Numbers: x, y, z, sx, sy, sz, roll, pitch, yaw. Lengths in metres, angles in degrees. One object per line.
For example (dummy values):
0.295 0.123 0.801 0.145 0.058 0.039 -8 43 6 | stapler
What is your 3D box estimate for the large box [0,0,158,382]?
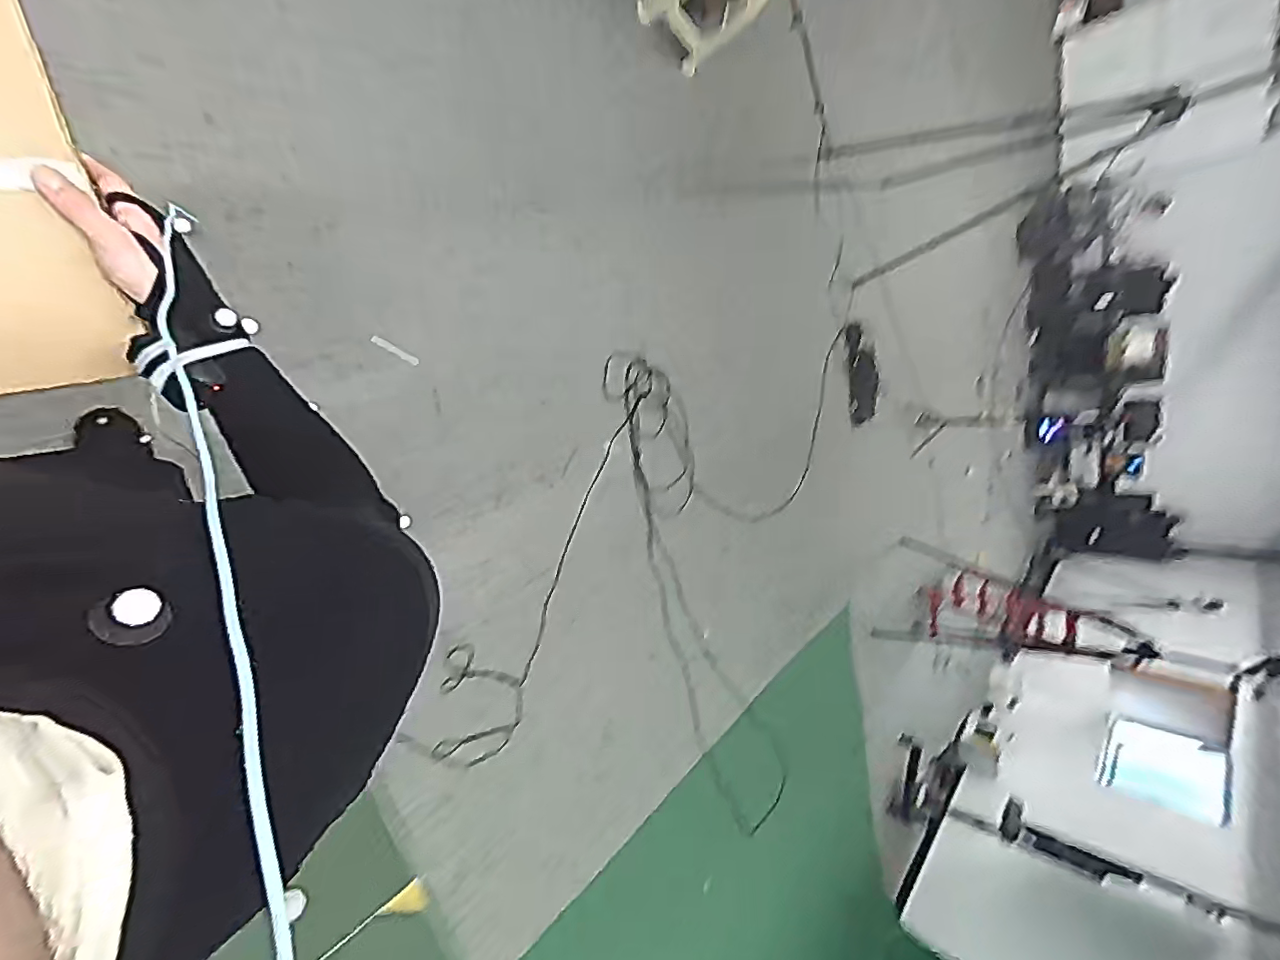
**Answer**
-0.698 -0.219 0.413 0.408 0.320 0.320 -25 119 -40 | large box
